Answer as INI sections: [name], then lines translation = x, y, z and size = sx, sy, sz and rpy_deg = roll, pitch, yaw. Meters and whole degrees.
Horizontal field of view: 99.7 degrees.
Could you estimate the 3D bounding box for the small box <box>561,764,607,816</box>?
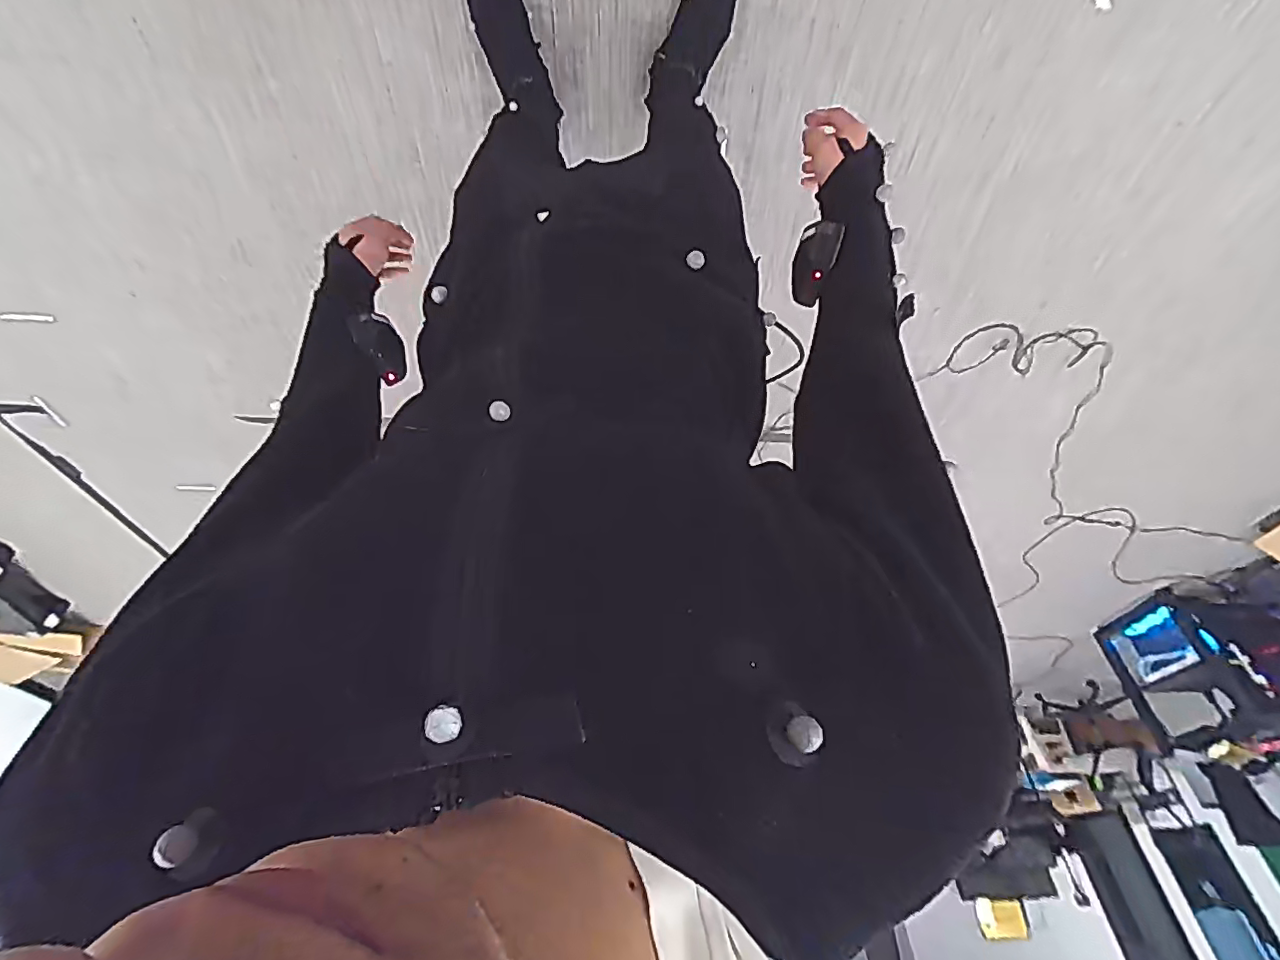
[small box]
translation = -0.225, 1.269, 2.213
size = 0.179, 0.176, 0.168
rpy_deg = 0, 141, 0
